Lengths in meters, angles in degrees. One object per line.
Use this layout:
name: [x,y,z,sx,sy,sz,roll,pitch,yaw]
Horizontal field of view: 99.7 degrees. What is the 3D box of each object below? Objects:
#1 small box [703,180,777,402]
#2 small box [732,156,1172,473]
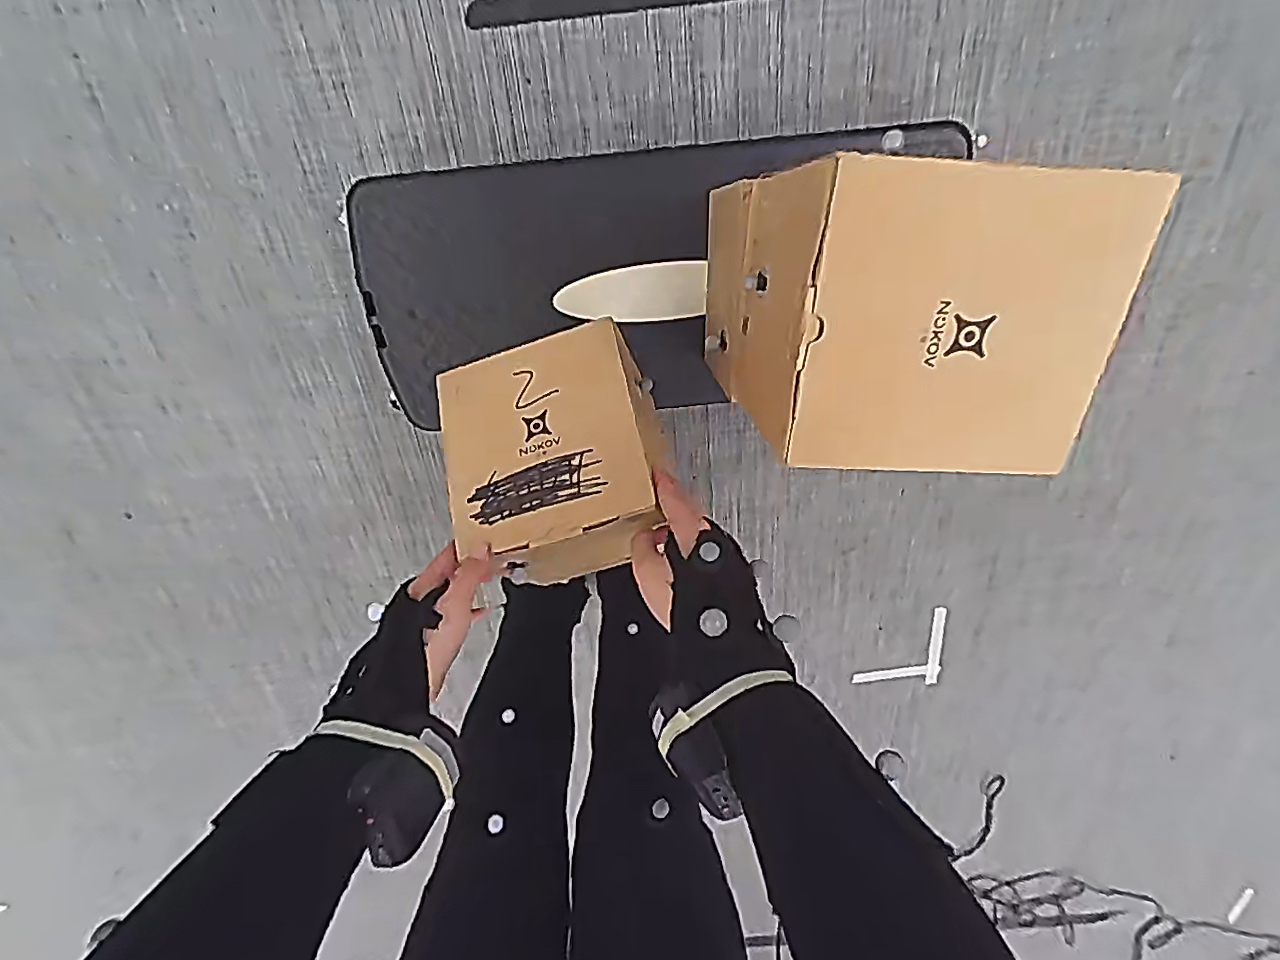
small box: [0.154,-0.183,0.517,0.168,0.176,0.179,-2,115,-2]
small box: [0.172,-0.115,0.369,0.179,0.176,0.168,2,116,-2]
